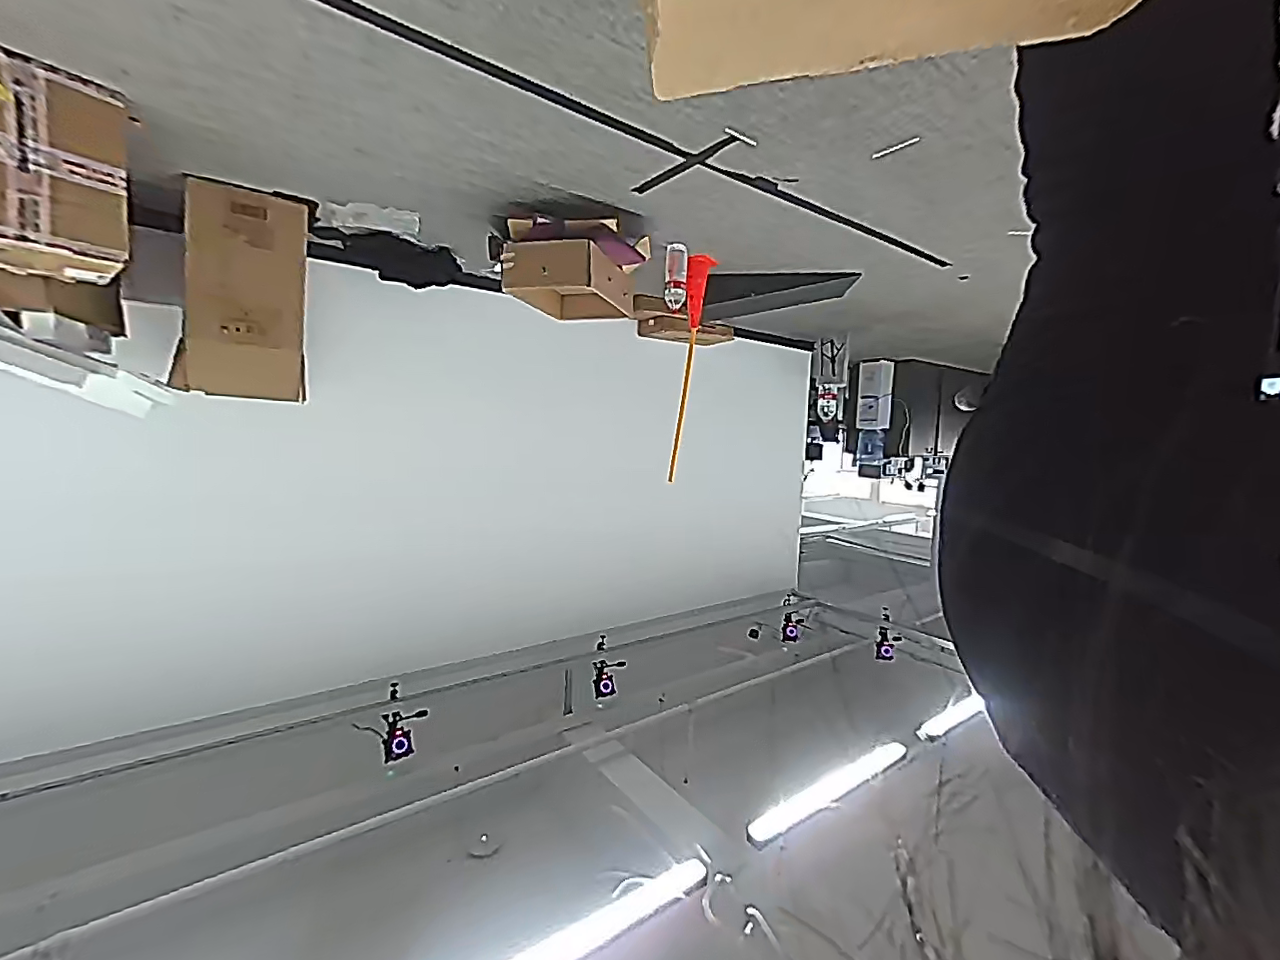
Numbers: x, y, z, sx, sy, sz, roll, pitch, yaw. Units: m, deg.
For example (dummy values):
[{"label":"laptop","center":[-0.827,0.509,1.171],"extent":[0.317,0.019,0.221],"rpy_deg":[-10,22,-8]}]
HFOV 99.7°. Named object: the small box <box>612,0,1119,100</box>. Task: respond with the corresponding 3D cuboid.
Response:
[{"label":"small box","center":[0.062,-0.218,0.102],"extent":[0.168,0.176,0.179],"rpy_deg":[-7,-171,5]}]
